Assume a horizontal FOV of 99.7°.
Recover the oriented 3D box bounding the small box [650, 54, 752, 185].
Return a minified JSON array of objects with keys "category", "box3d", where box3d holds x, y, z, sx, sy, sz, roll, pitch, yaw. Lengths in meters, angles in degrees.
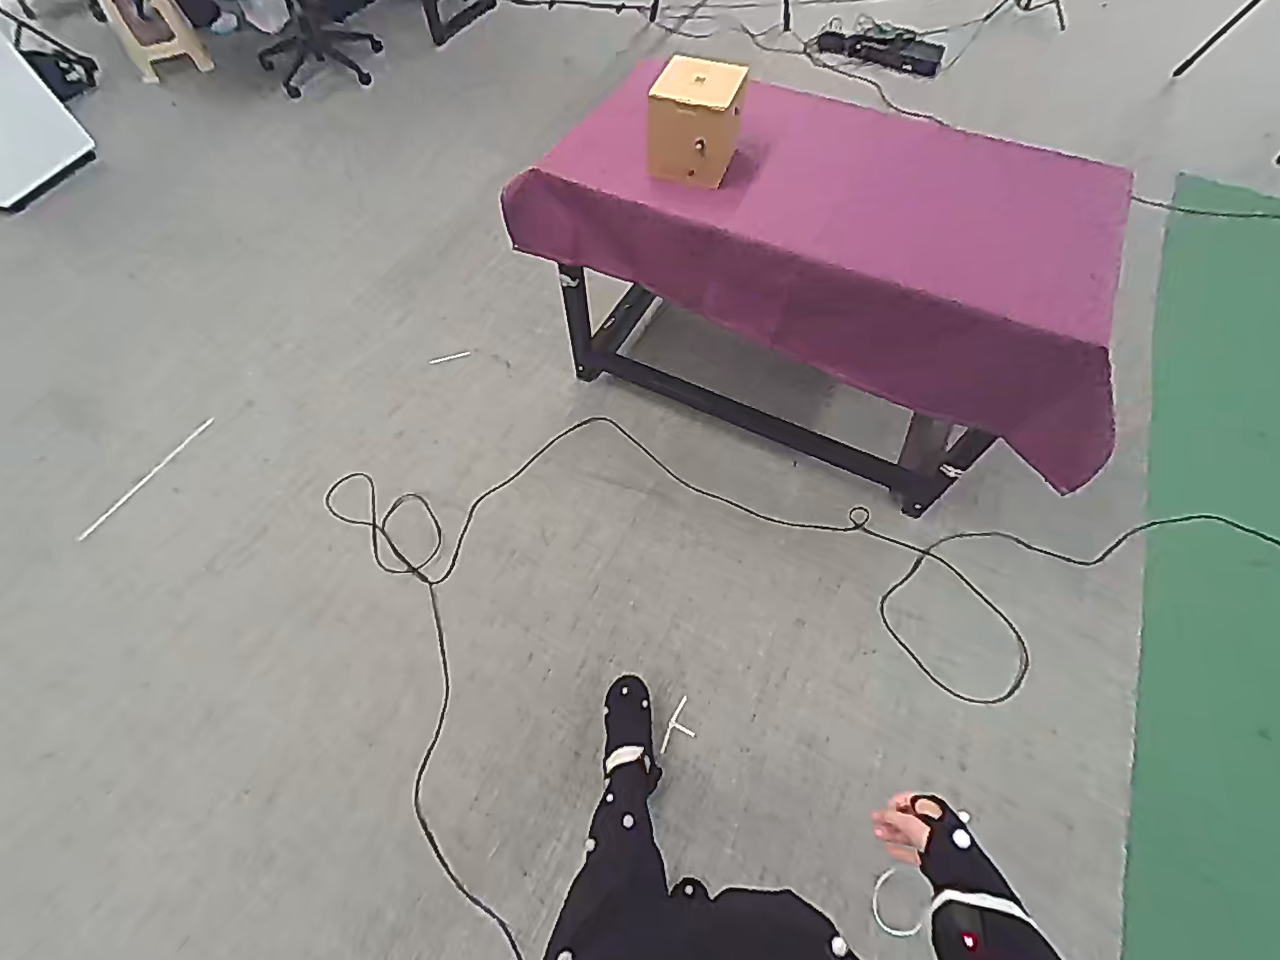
[{"category":"small box","box3d":[0.128,-0.772,1.166,0.168,0.176,0.179,19,62,10]}]
